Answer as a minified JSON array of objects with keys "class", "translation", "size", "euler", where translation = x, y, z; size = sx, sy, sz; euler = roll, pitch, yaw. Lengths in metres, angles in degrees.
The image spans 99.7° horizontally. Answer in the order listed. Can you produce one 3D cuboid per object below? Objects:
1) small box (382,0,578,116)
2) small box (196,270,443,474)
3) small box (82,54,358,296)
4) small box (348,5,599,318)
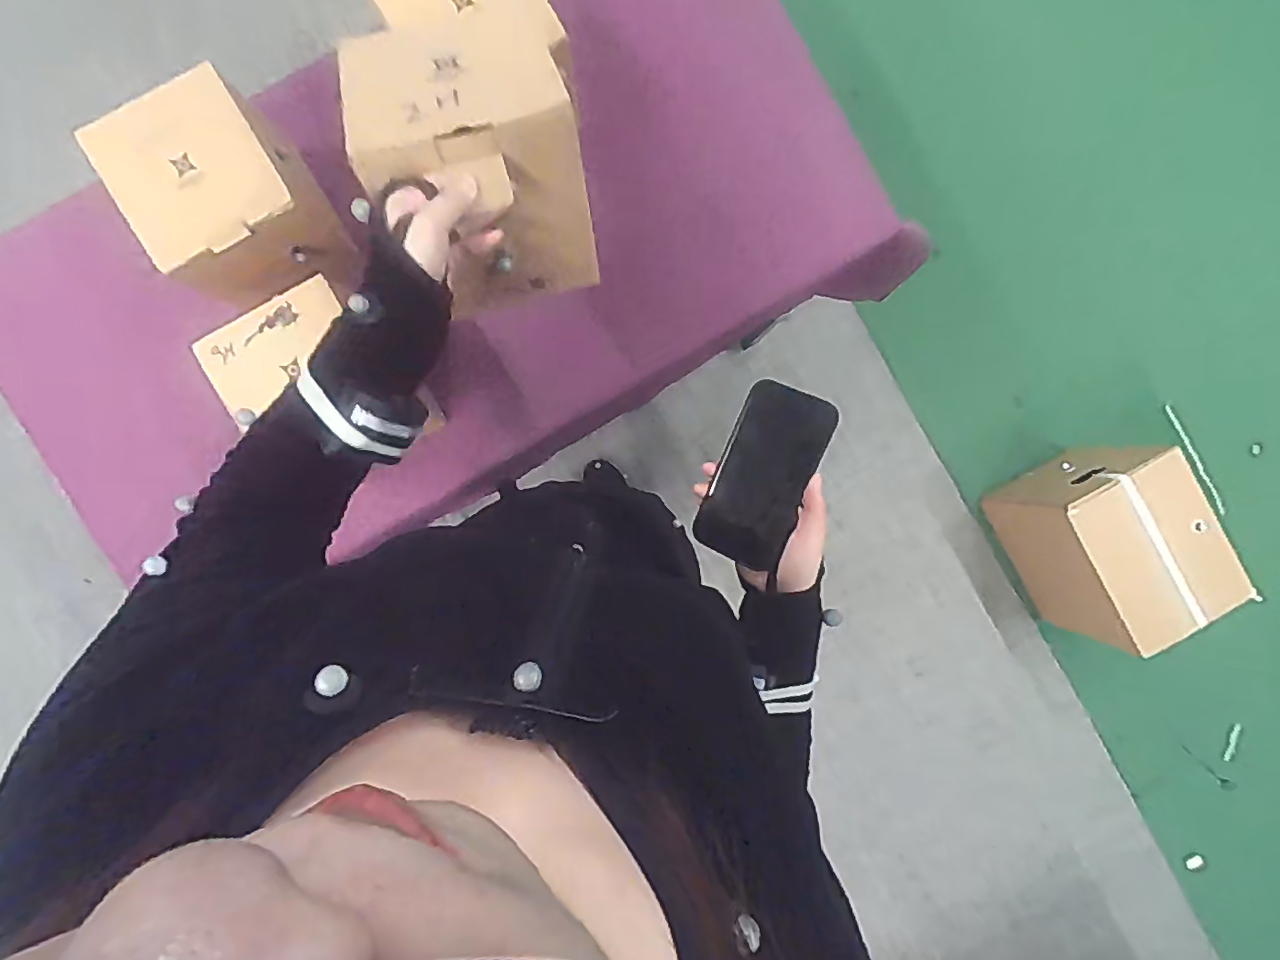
[{"class":"small box","translation":[-0.192,-0.533,0.668],"size":[0.168,0.176,0.179],"euler":[-32,94,-1]},{"class":"small box","translation":[-0.377,-0.123,0.676],"size":[0.168,0.176,0.179],"euler":[-30,93,-2]},{"class":"small box","translation":[-0.490,-0.349,0.664],"size":[0.168,0.176,0.179],"euler":[-30,93,-2]},{"class":"small box","translation":[-0.142,-0.283,0.497],"size":[0.168,0.176,0.179],"euler":[-16,63,-4]}]
